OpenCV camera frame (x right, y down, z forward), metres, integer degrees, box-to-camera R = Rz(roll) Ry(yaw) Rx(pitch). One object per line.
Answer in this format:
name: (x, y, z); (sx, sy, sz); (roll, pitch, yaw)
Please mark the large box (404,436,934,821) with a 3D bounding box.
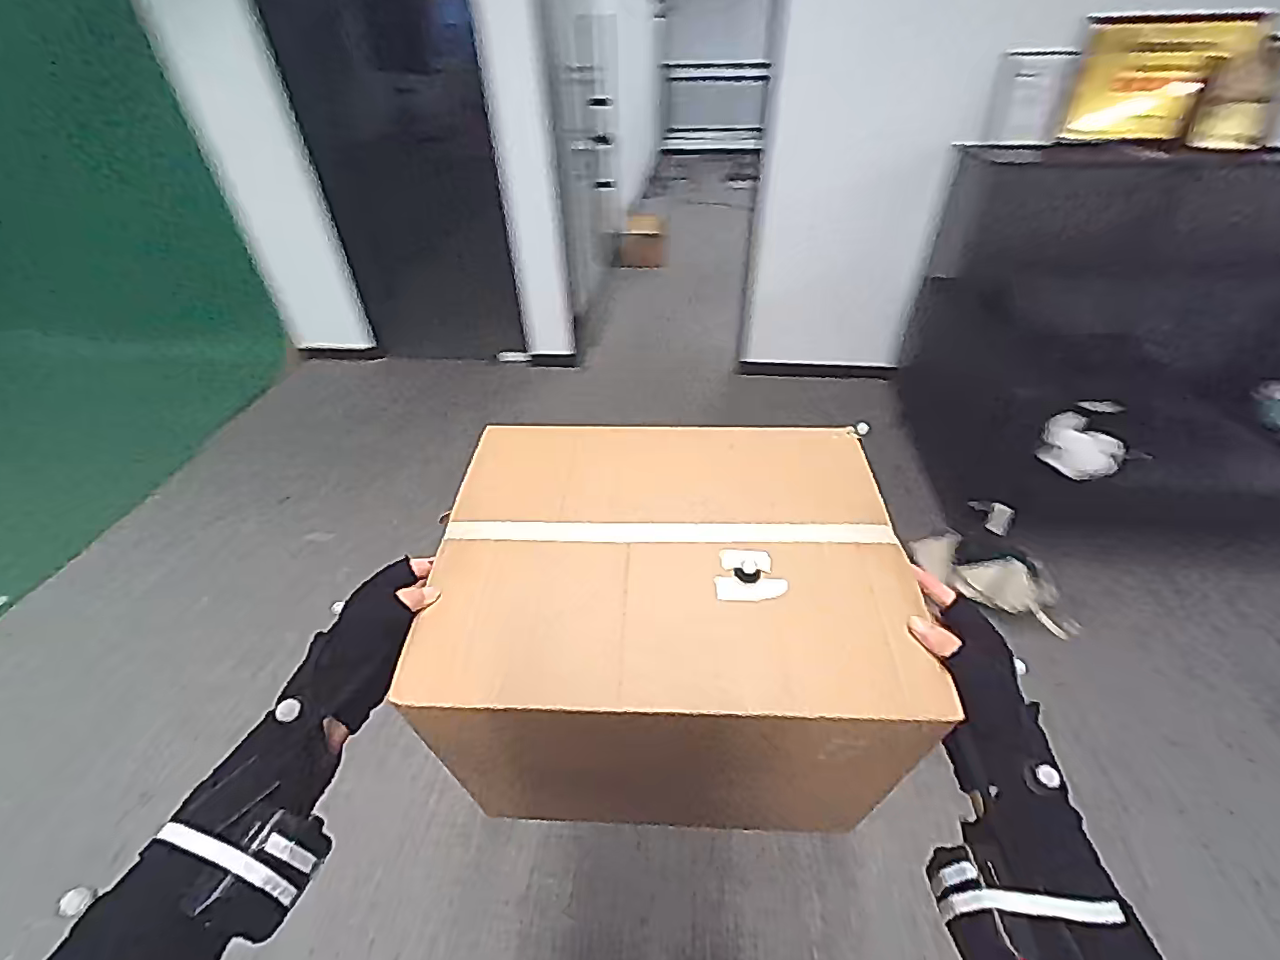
large box: (0.020, 0.164, 0.606); (0.408, 0.320, 0.320); (0, 45, 1)
